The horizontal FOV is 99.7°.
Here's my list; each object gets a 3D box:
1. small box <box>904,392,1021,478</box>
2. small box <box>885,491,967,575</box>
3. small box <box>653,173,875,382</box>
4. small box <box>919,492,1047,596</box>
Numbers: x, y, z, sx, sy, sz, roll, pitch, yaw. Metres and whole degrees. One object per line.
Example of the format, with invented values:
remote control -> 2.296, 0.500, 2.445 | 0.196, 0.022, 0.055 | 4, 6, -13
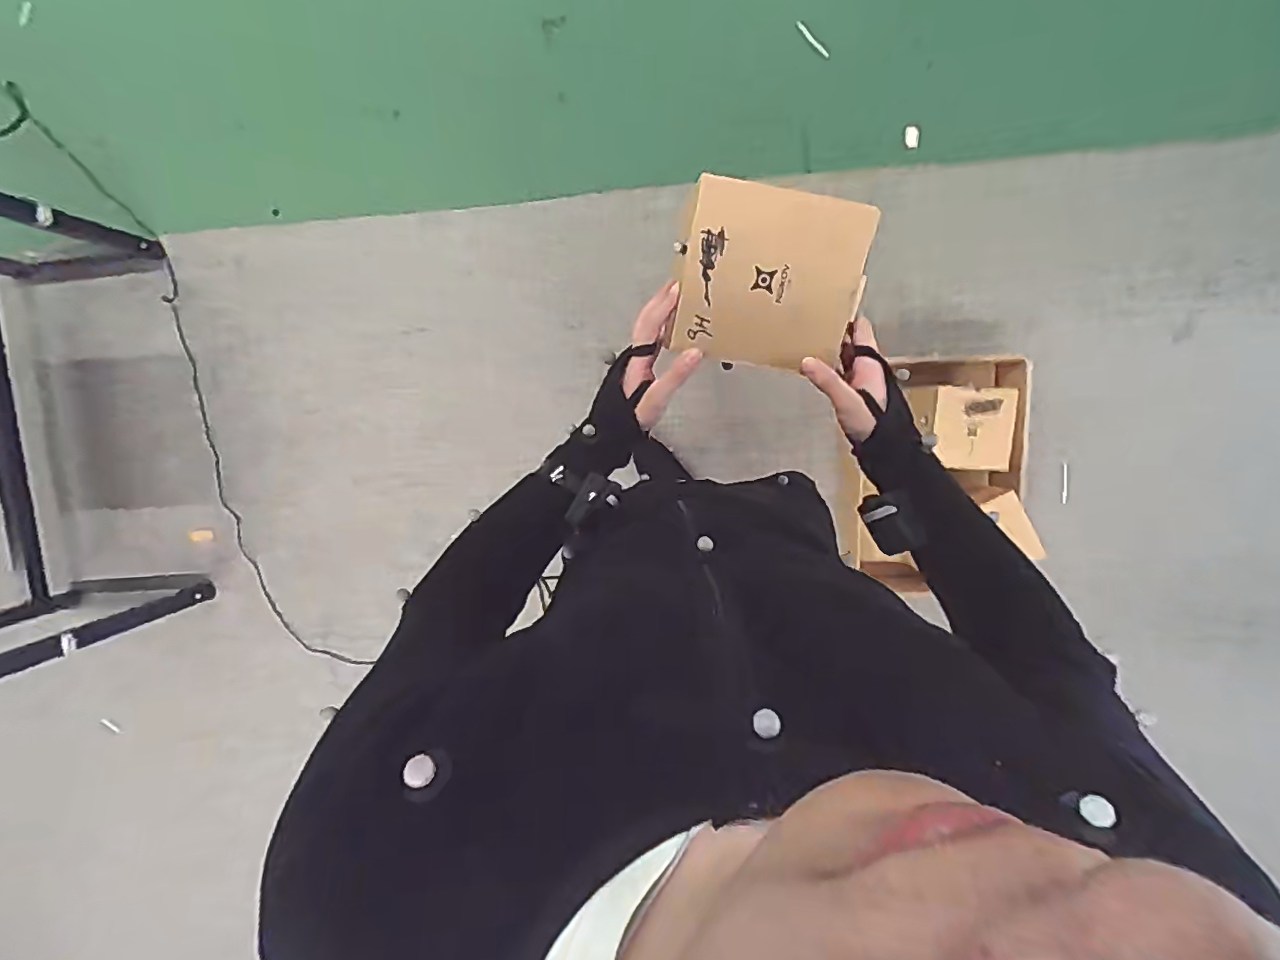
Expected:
small box -> 0.728, -0.106, 1.239 | 0.168, 0.176, 0.179 | 4, 98, 5
small box -> 0.768, 0.135, 1.425 | 0.179, 0.176, 0.168 | -16, 93, 7
small box -> 0.117, -0.213, 0.593 | 0.179, 0.176, 0.168 | 8, 107, -5
small box -> 0.780, 0.142, 1.259 | 0.179, 0.176, 0.168 | -27, 92, 8
